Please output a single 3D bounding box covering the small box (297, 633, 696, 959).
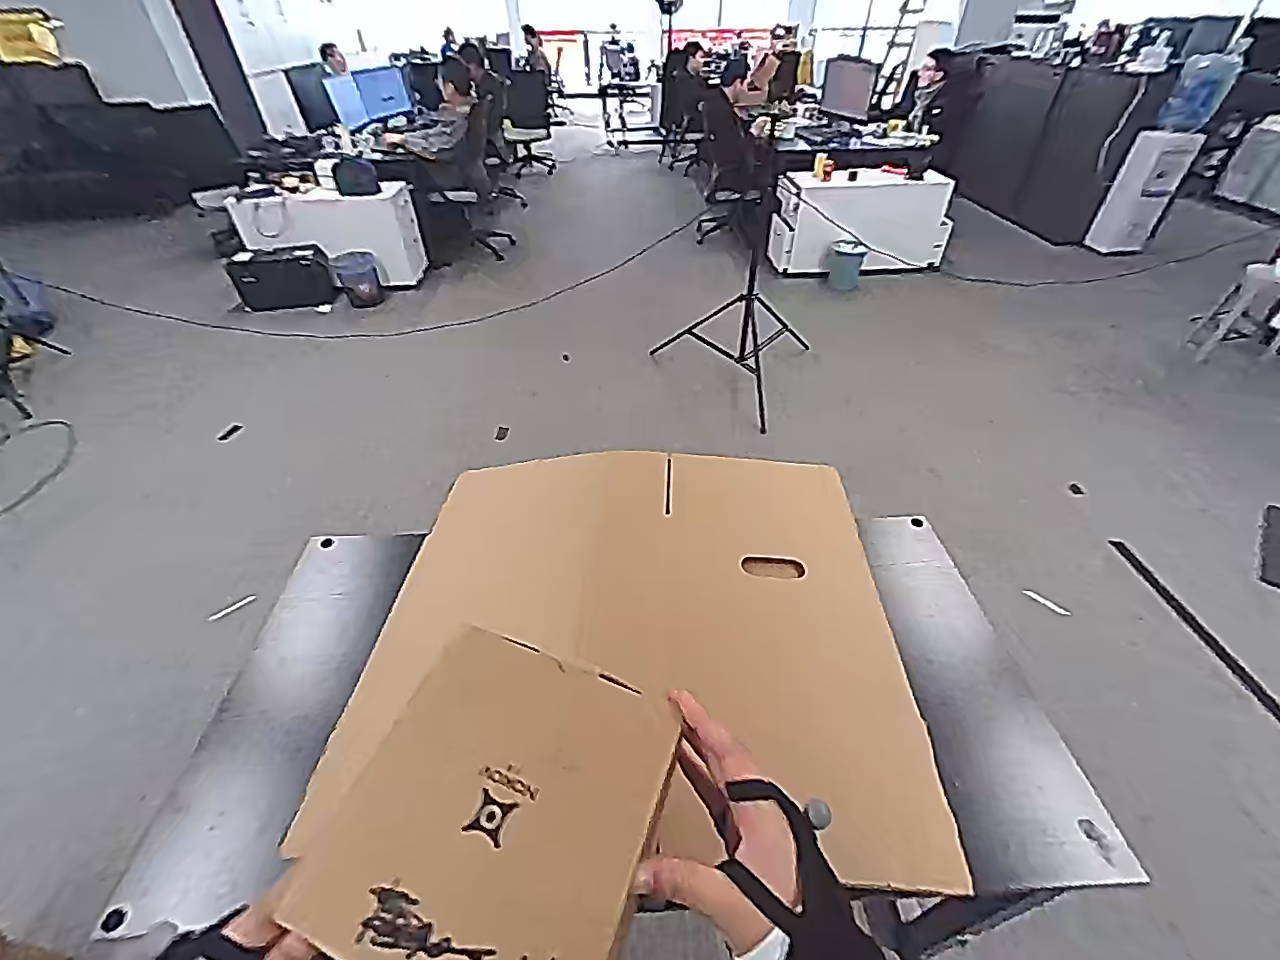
[{"bbox_3d":[-0.071,0.242,0.365,0.168,0.176,0.179,15,48,15],"label":"small box"}]

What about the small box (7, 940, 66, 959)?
[{"bbox_3d":[-1.267,1.014,1.029,0.168,0.176,0.179,-5,42,-4],"label":"small box"}]
